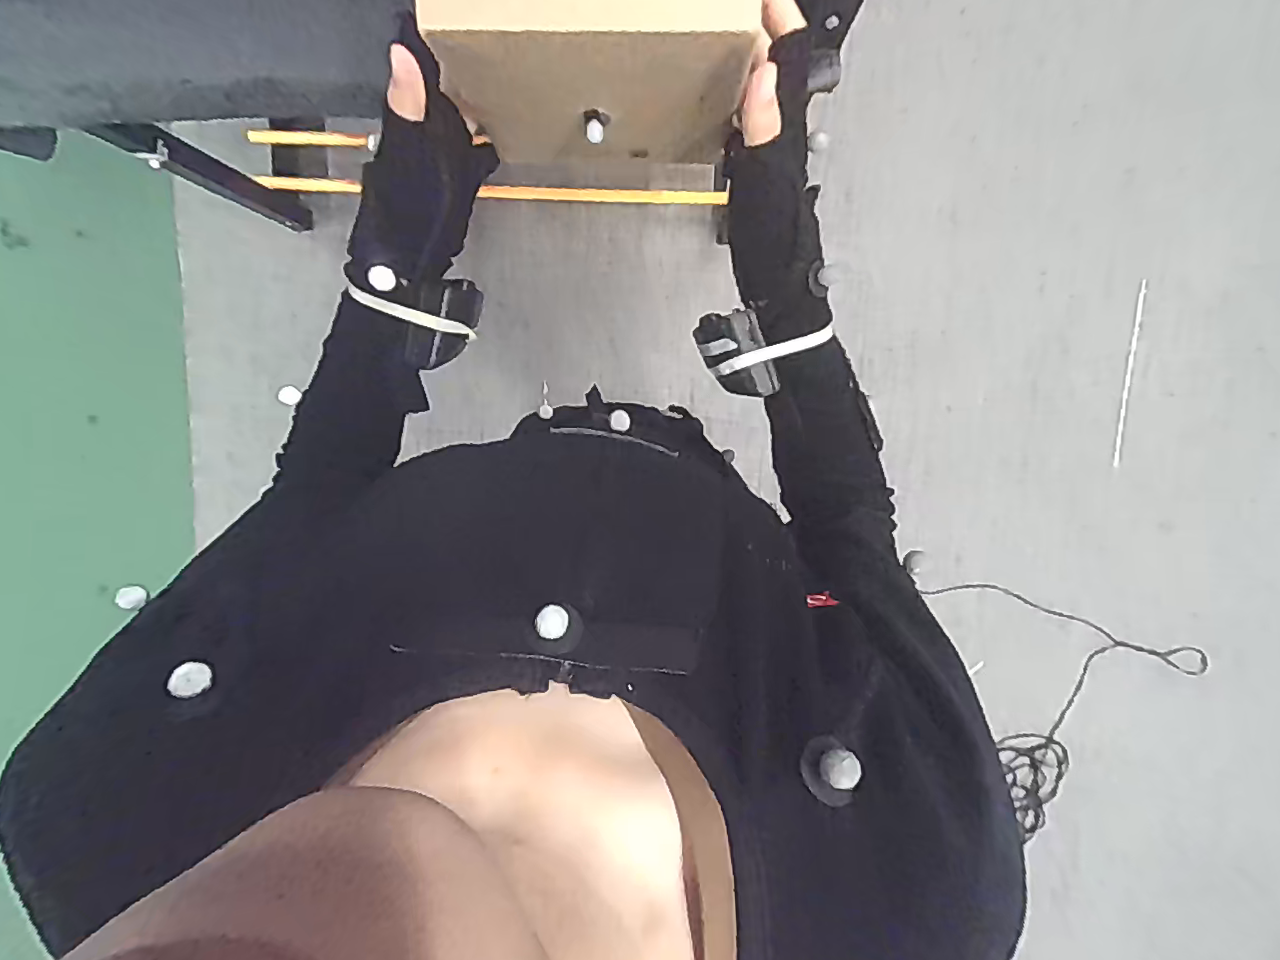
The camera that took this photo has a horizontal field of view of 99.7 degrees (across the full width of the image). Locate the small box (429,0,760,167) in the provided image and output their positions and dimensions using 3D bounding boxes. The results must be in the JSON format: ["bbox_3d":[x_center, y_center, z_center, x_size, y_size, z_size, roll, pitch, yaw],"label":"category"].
[{"bbox_3d":[-0.019,-0.312,0.329,0.168,0.176,0.179,1,100,0],"label":"small box"}]
